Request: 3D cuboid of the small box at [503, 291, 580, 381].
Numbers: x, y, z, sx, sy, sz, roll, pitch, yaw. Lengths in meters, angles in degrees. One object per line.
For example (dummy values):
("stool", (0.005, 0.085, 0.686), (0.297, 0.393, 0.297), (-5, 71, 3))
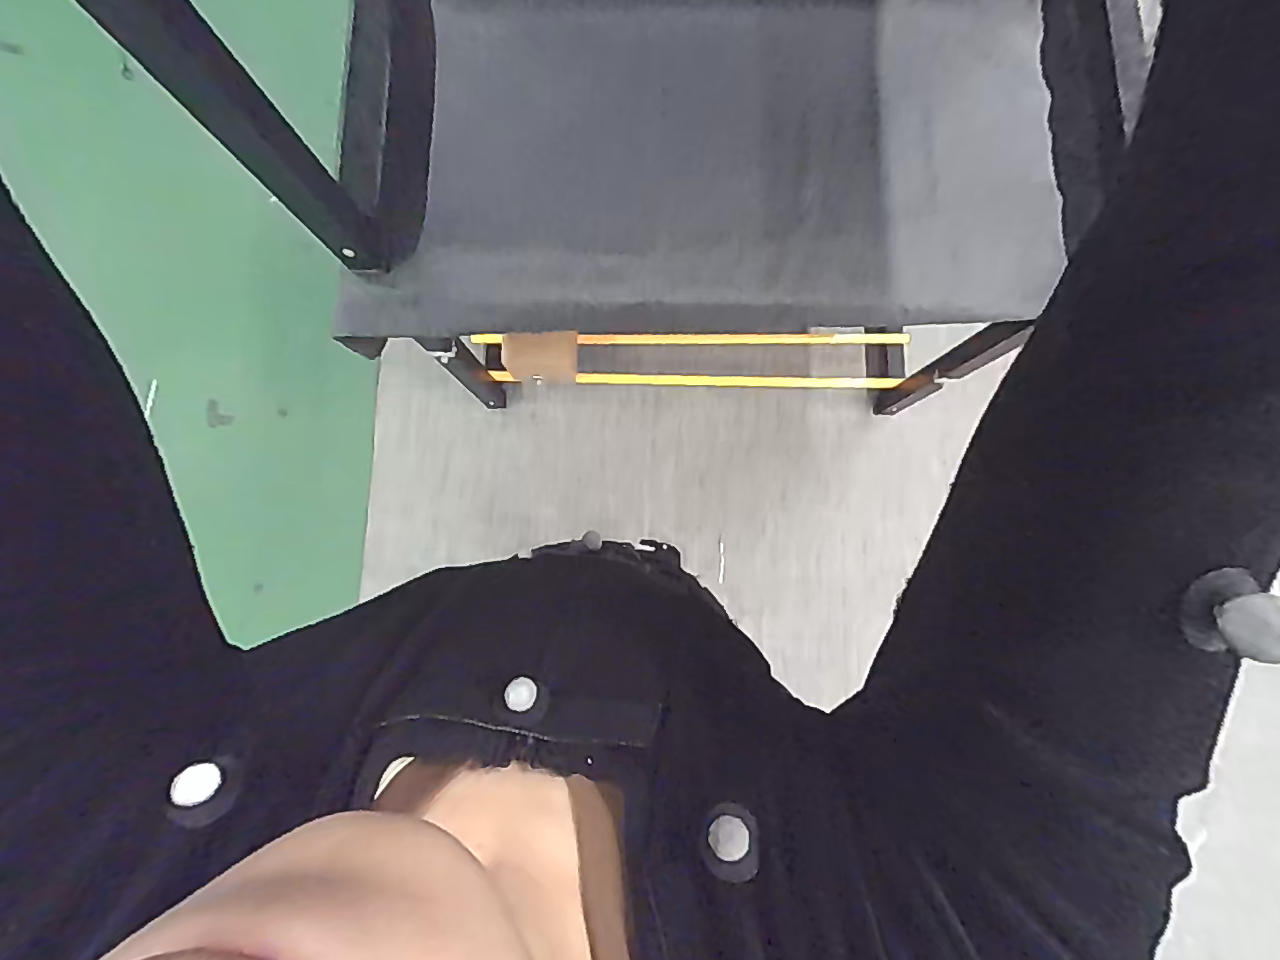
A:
("small box", (-0.248, -0.364, 1.388), (0.168, 0.176, 0.179), (1, 84, 0))
